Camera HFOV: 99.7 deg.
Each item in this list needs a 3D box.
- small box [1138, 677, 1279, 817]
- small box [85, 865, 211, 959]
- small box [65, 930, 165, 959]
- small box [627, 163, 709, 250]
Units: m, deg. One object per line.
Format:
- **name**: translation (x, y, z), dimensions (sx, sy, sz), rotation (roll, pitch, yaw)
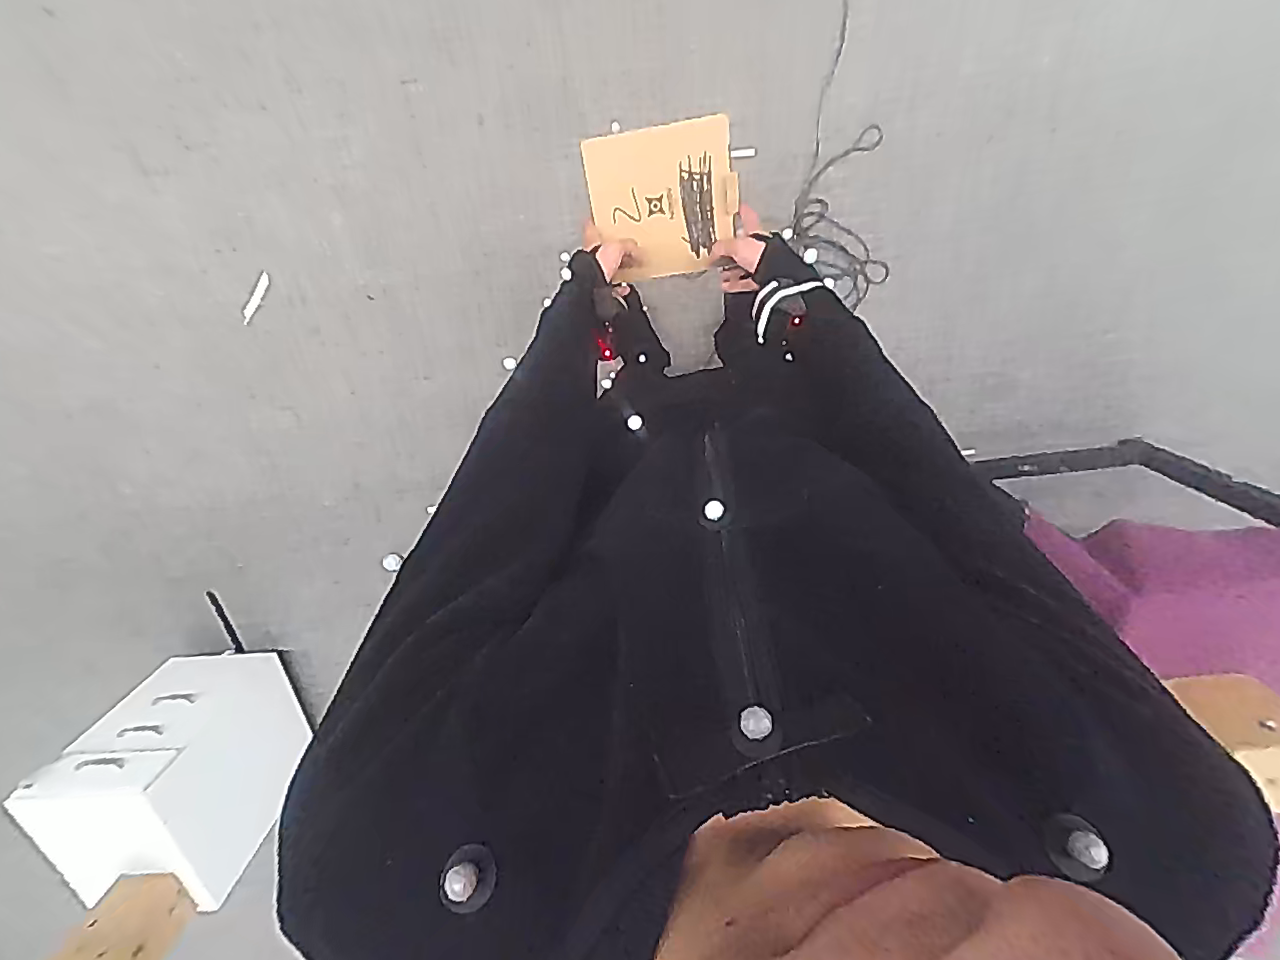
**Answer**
- **small box**: translation (1.094, 0.485, 0.997), dimensions (0.179, 0.176, 0.168), rotation (-5, 113, 4)
- **small box**: translation (-1.402, 1.244, 1.556), dimensions (0.179, 0.176, 0.168), rotation (-5, 114, 5)
- **small box**: translation (-1.403, 1.312, 1.405), dimensions (0.168, 0.176, 0.179), rotation (-4, 114, 5)
- **small box**: translation (0.070, -0.656, 1.314), dimensions (0.179, 0.176, 0.168), rotation (-7, 114, 4)
